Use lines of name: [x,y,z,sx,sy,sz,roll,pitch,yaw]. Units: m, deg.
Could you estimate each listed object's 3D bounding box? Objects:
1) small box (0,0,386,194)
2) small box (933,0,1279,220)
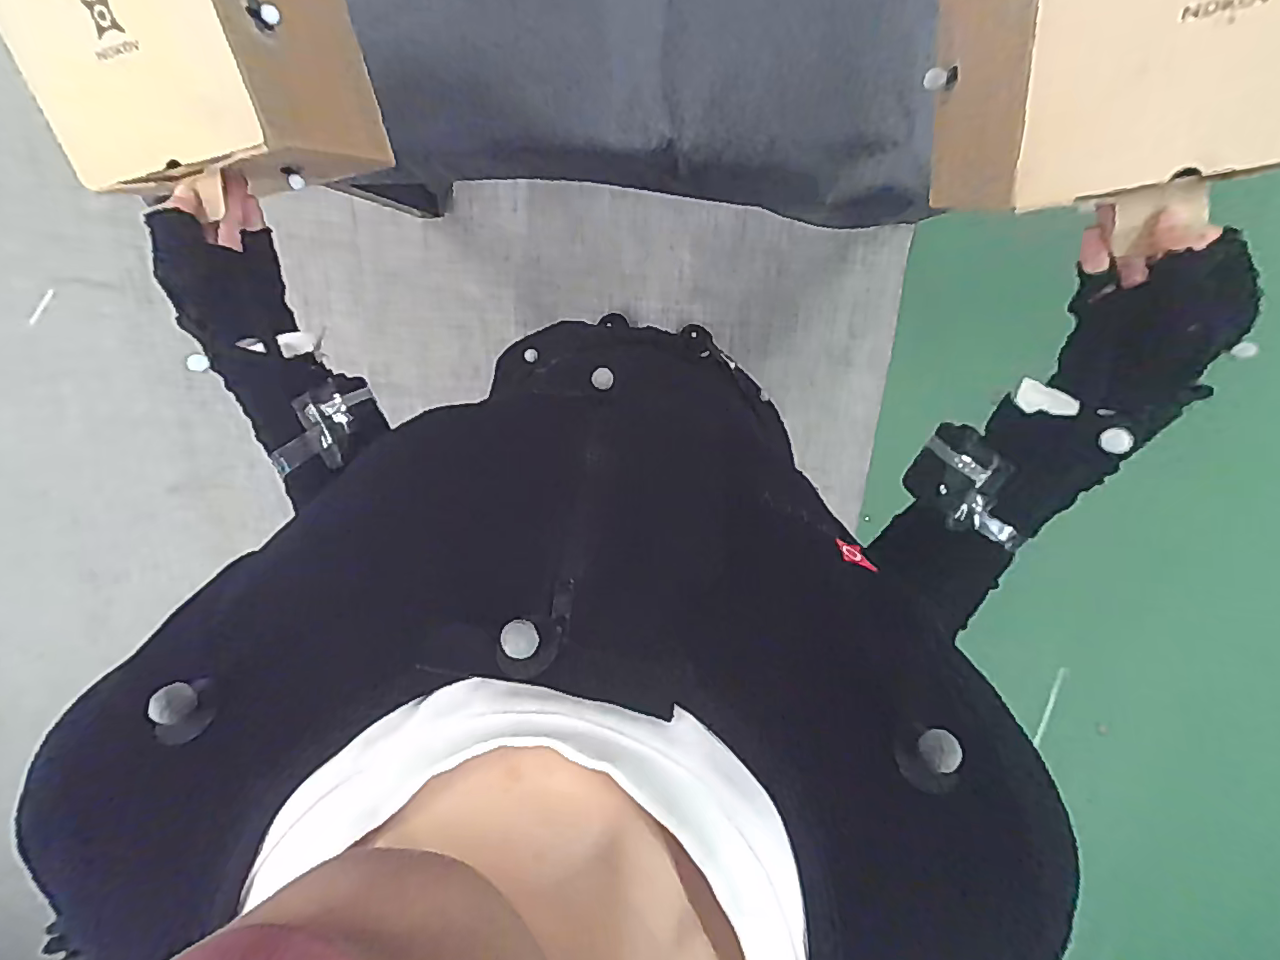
small box: [-0.335,-0.333,0.420,0.168,0.176,0.179,-6,114,11]
small box: [0.292,-0.269,0.325,0.168,0.176,0.179,-4,117,13]
